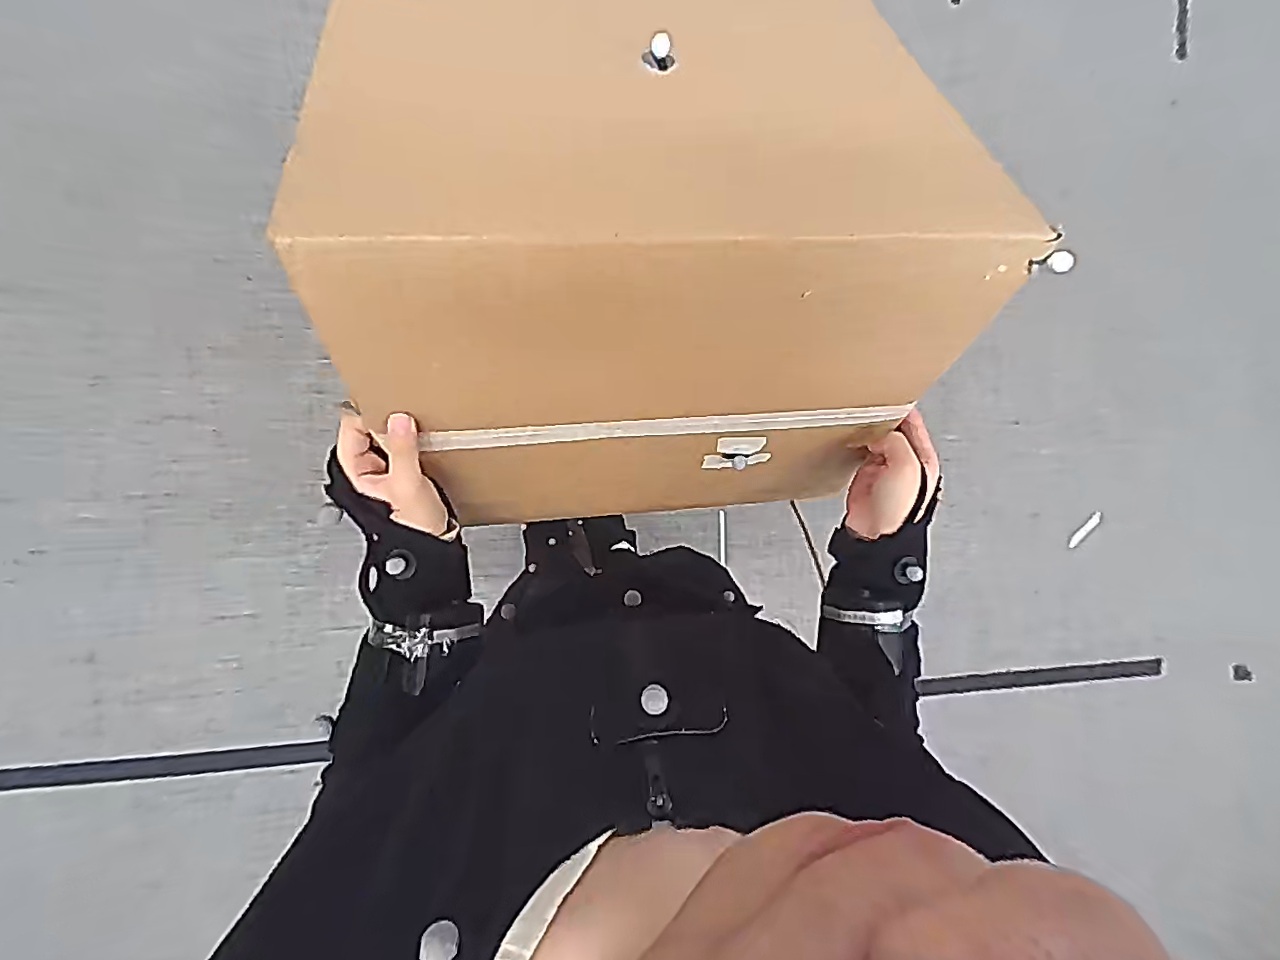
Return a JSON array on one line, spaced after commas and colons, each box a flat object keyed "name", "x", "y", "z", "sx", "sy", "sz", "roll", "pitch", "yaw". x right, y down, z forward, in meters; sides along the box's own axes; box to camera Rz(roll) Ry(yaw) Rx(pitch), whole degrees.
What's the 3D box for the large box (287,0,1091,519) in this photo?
[{"name": "large box", "x": 0.007, "y": -0.187, "z": 0.455, "sx": 0.408, "sy": 0.320, "sz": 0.320, "roll": -5, "pitch": 62, "yaw": -9}]
